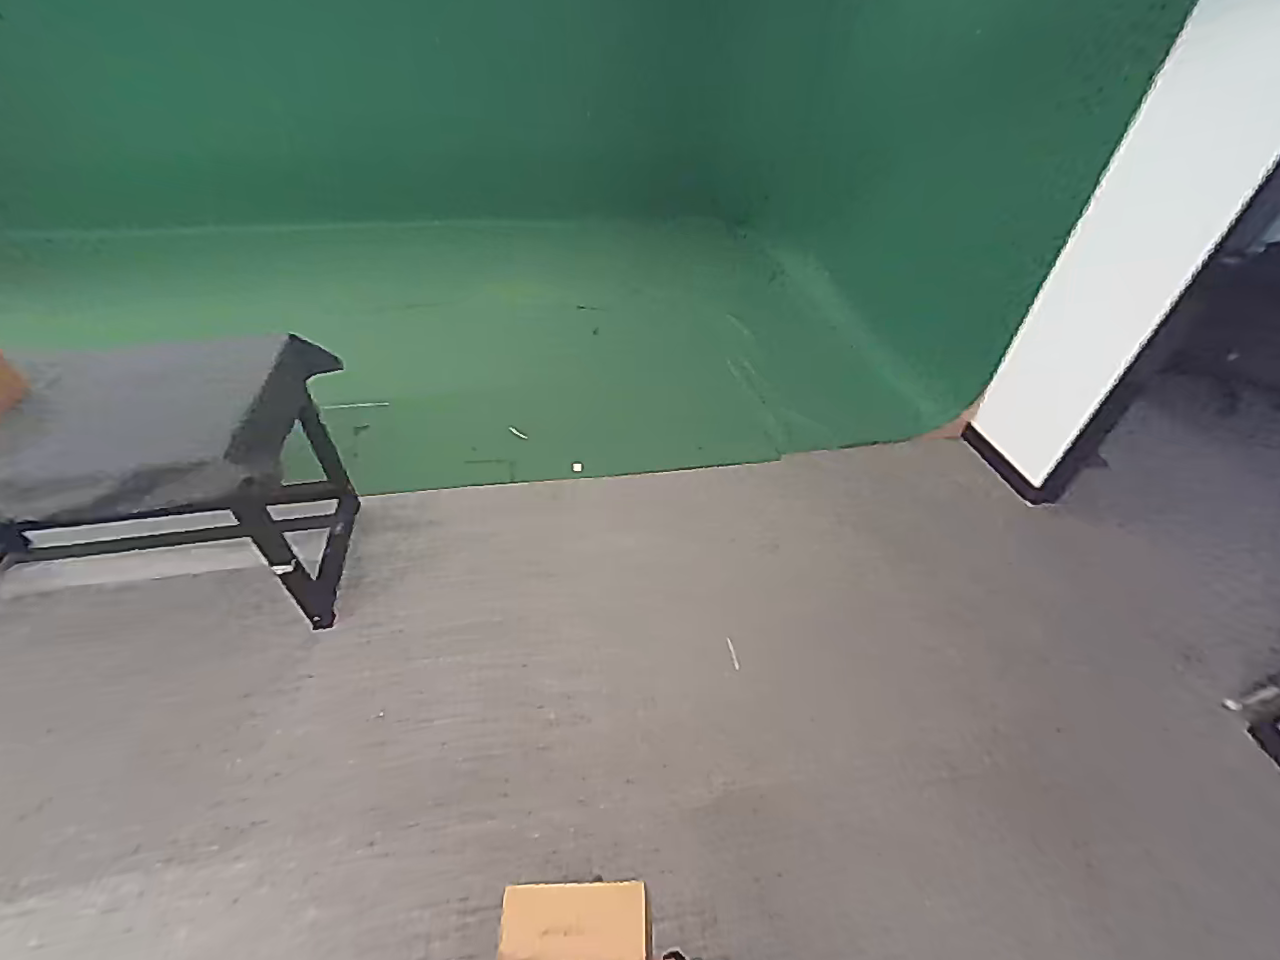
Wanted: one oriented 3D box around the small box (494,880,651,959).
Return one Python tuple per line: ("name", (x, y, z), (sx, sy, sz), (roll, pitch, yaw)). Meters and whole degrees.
("small box", (-0.071, 0.583, 0.631), (0.168, 0.176, 0.179), (-3, 48, 1))
